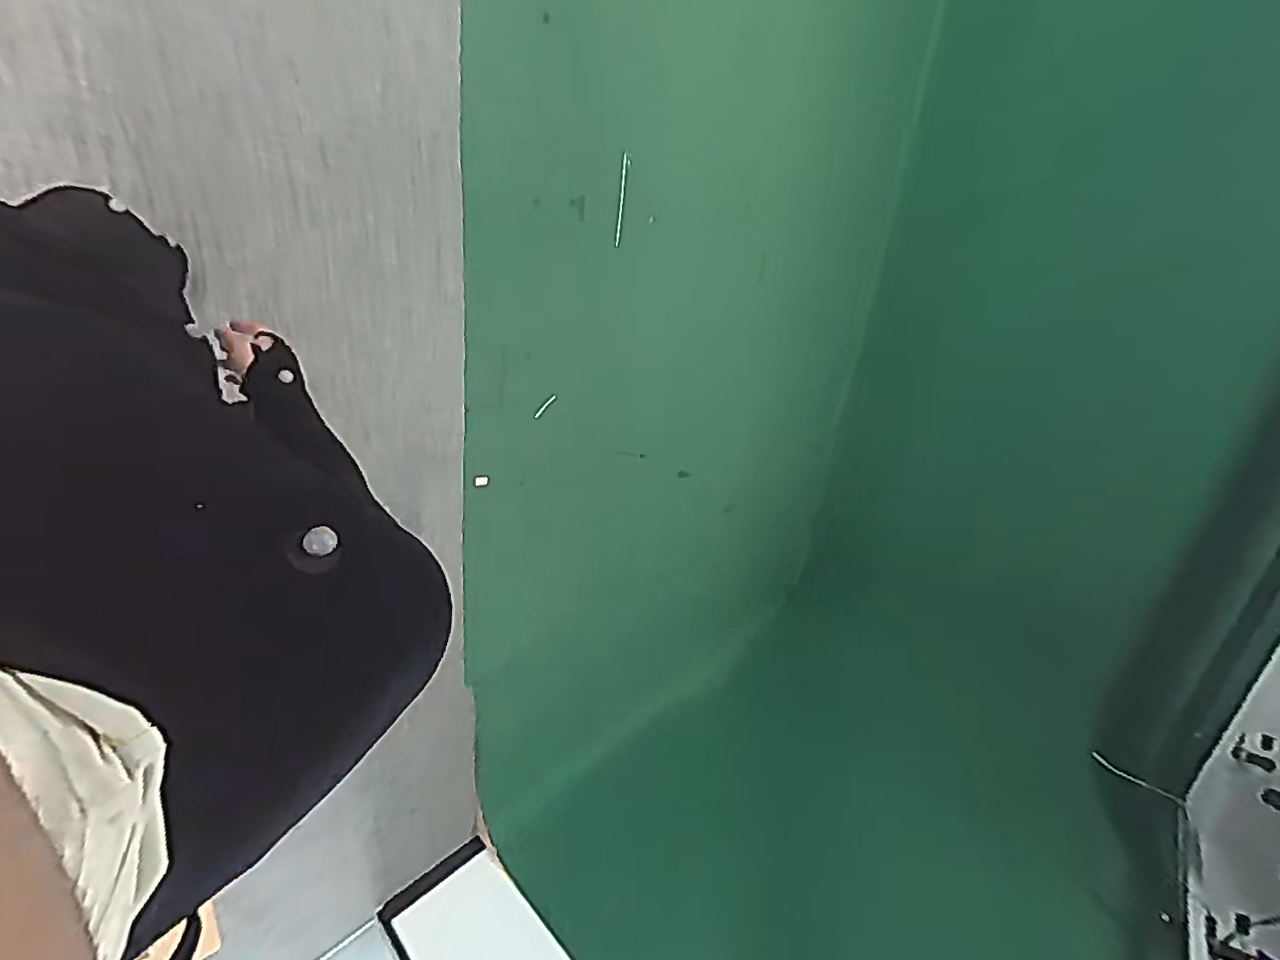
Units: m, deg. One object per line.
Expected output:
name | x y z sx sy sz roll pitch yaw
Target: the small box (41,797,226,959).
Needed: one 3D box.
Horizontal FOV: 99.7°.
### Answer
small box | -0.727 0.600 0.781 0.168 0.176 0.179 -13 119 -44
